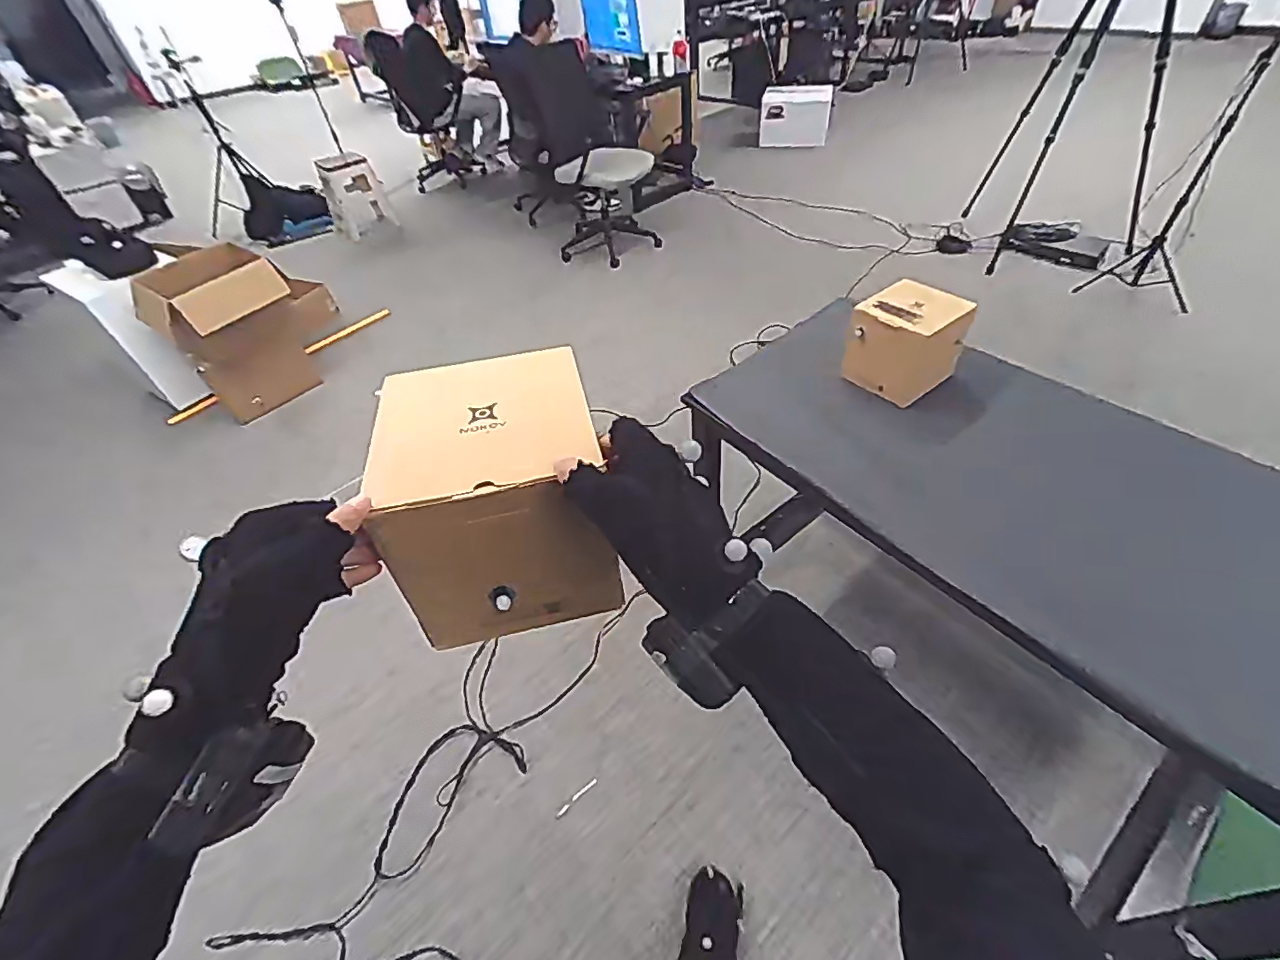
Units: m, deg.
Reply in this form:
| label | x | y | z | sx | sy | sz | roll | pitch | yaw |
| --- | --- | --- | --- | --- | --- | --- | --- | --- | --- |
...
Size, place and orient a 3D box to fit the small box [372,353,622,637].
| label | x | y | z | sx | sy | sz | roll | pitch | yaw |
| --- | --- | --- | --- | --- | --- | --- | --- | --- | --- |
| small box | -0.114 | 0.010 | 0.485 | 0.168 | 0.176 | 0.179 | -11 | 43 | -8 |
